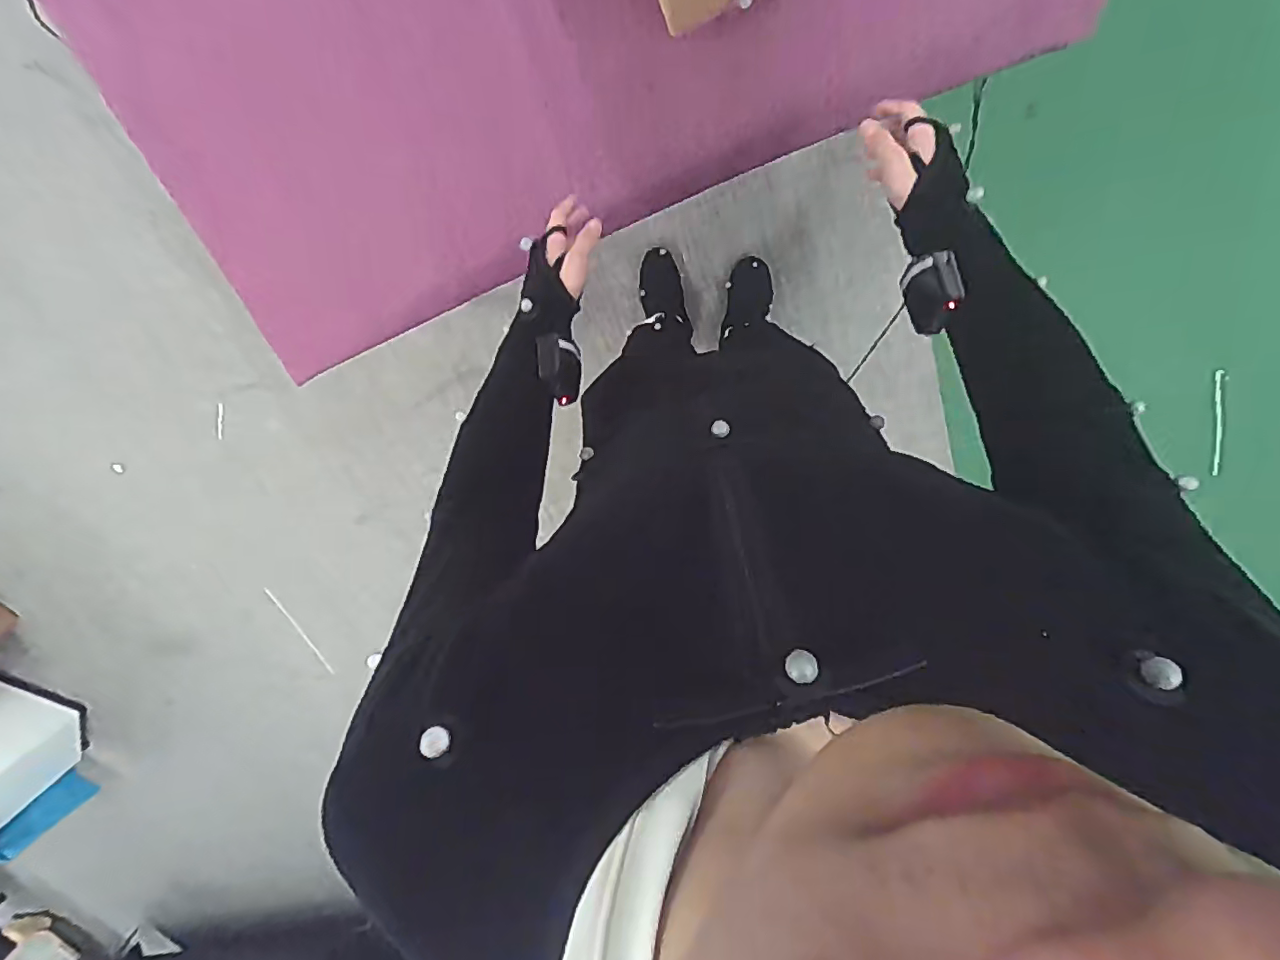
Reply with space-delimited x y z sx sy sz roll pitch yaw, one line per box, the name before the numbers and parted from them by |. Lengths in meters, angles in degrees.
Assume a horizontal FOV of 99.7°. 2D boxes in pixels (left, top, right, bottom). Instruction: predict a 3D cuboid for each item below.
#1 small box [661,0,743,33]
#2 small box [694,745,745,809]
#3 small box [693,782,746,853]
small box | 0.080 -0.614 0.551 0.179 0.176 0.168 -19 110 16
small box | 0.323 1.202 2.185 0.179 0.176 0.168 -11 113 13
small box | 0.299 1.265 2.035 0.179 0.176 0.168 -8 114 11
